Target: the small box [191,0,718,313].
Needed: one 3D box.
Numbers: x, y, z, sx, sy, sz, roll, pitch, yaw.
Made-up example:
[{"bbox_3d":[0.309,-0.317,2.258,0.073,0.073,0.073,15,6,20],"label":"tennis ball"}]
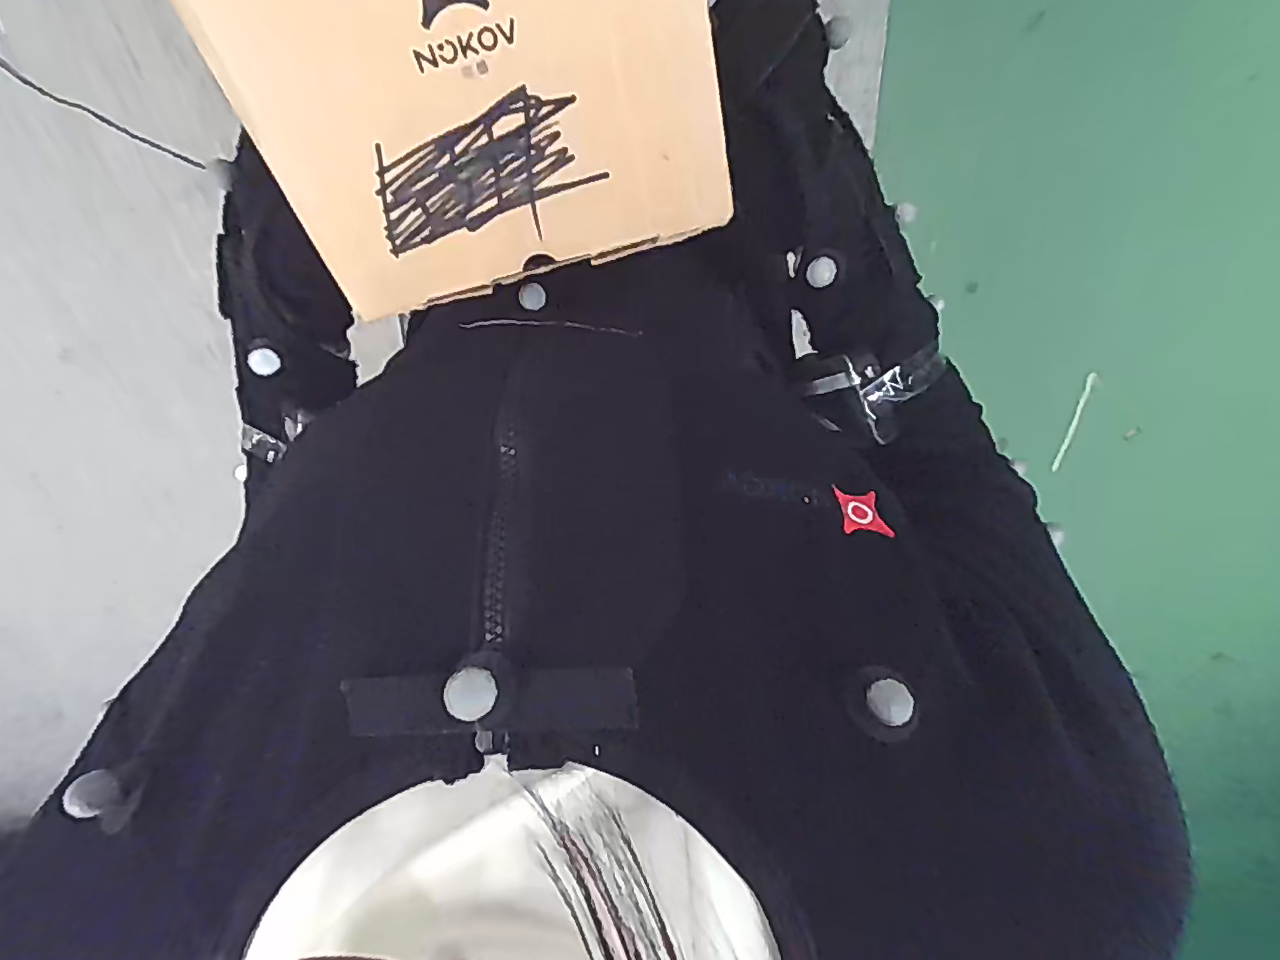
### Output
[{"bbox_3d":[-0.066,-0.205,0.246,0.168,0.176,0.179,-12,127,4],"label":"small box"}]
